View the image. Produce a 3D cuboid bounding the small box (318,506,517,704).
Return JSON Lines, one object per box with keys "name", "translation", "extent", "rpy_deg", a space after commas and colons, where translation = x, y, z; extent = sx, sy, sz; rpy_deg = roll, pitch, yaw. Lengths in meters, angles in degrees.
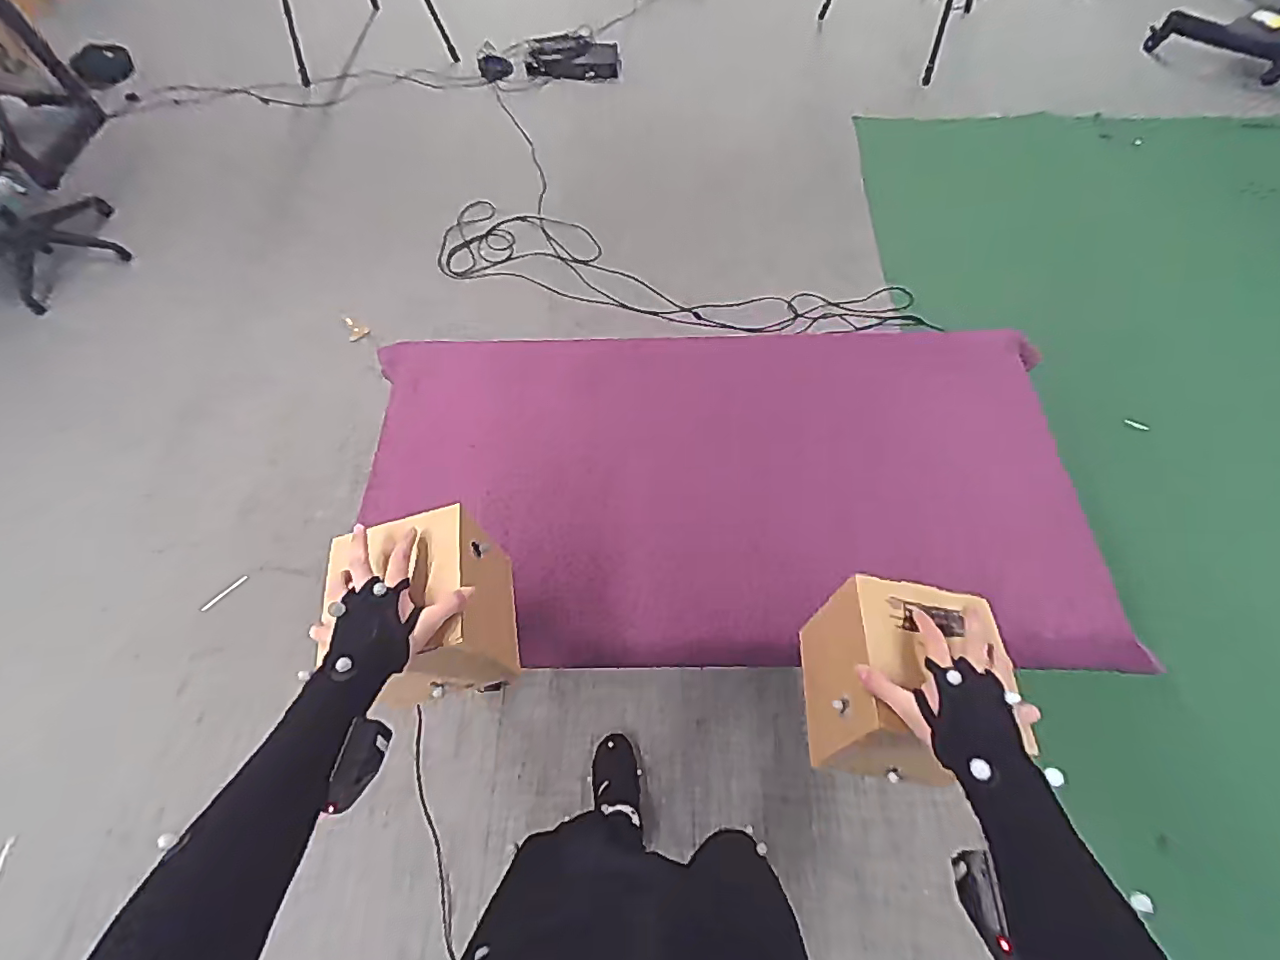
{"name": "small box", "translation": [-0.266, 0.163, 0.685], "extent": [0.168, 0.176, 0.179], "rpy_deg": [-15, 56, 2]}
